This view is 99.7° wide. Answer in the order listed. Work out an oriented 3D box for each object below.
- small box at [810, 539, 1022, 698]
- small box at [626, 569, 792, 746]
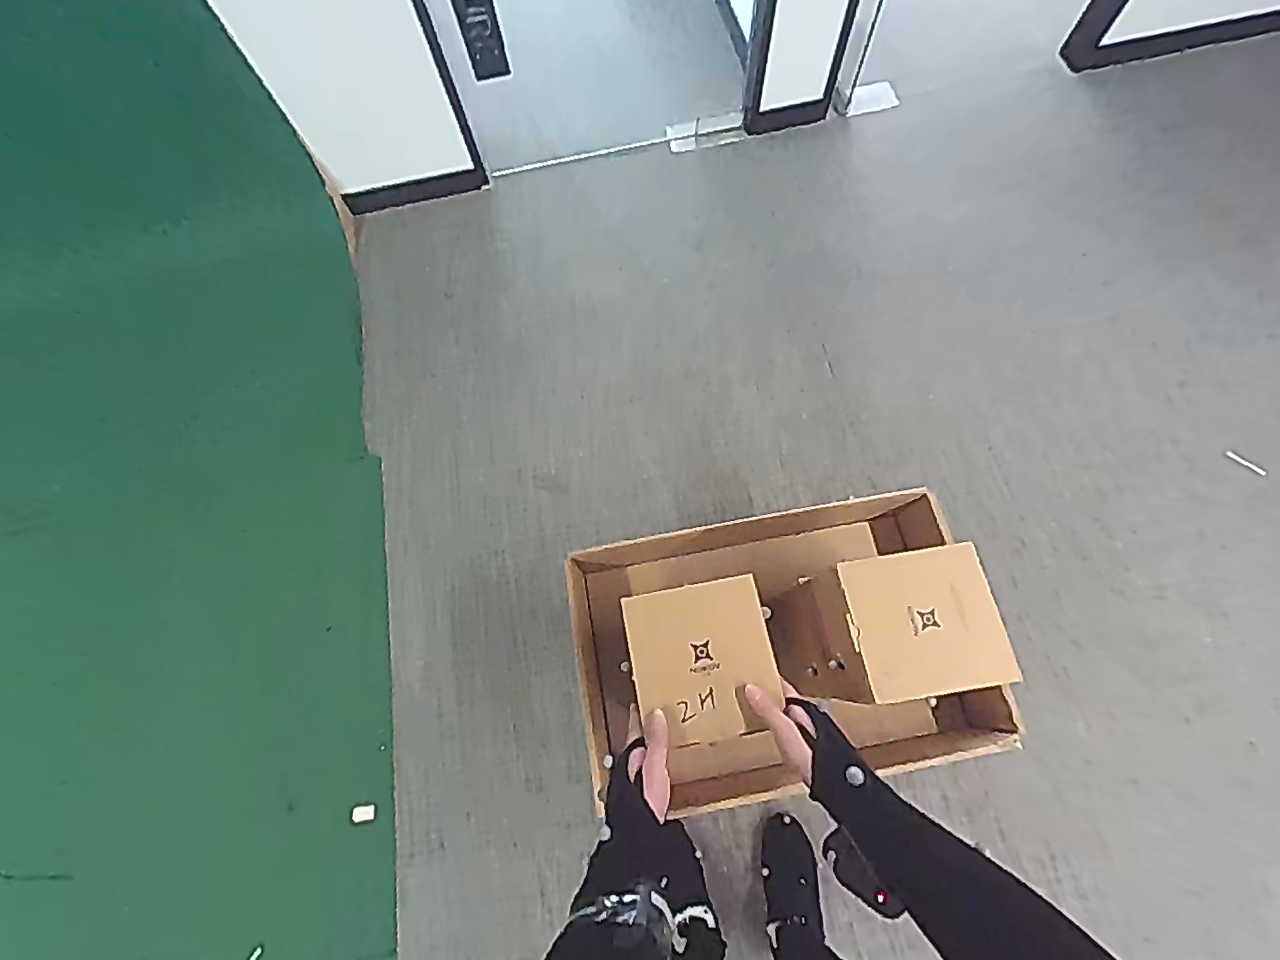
[{"bbox_3d":[0.337,0.184,0.707,0.179,0.176,0.168,-8,72,-2],"label":"small box"},{"bbox_3d":[0.077,0.228,0.698,0.168,0.176,0.179,-10,70,-1],"label":"small box"}]
